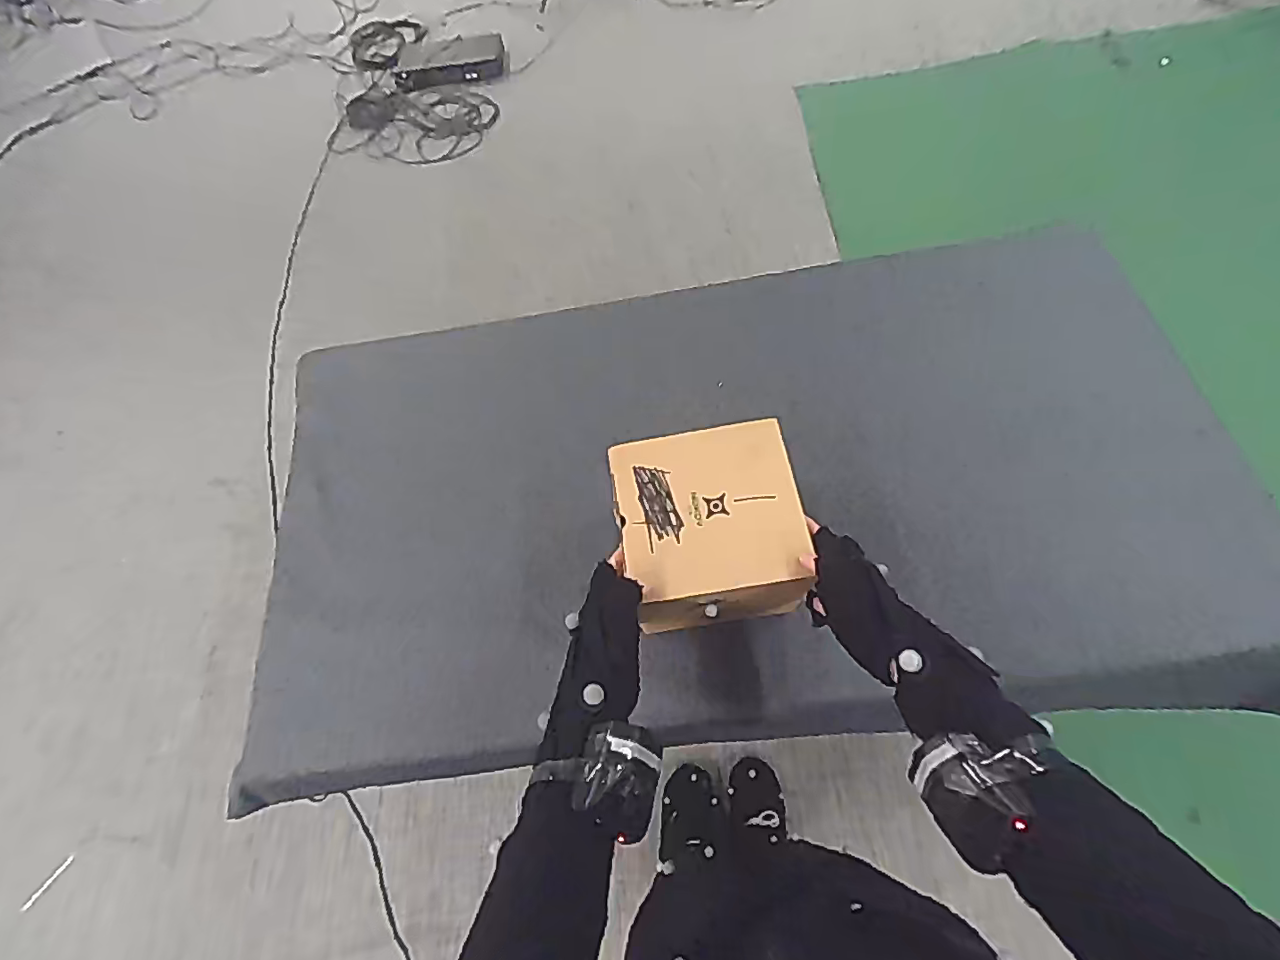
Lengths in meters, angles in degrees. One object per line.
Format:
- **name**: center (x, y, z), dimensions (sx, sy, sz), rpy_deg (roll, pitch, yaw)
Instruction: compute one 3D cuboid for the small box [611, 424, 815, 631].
- **small box**: center (0.074, 0.063, 0.596), dimensions (0.179, 0.176, 0.168), rpy_deg (-9, 65, 2)
